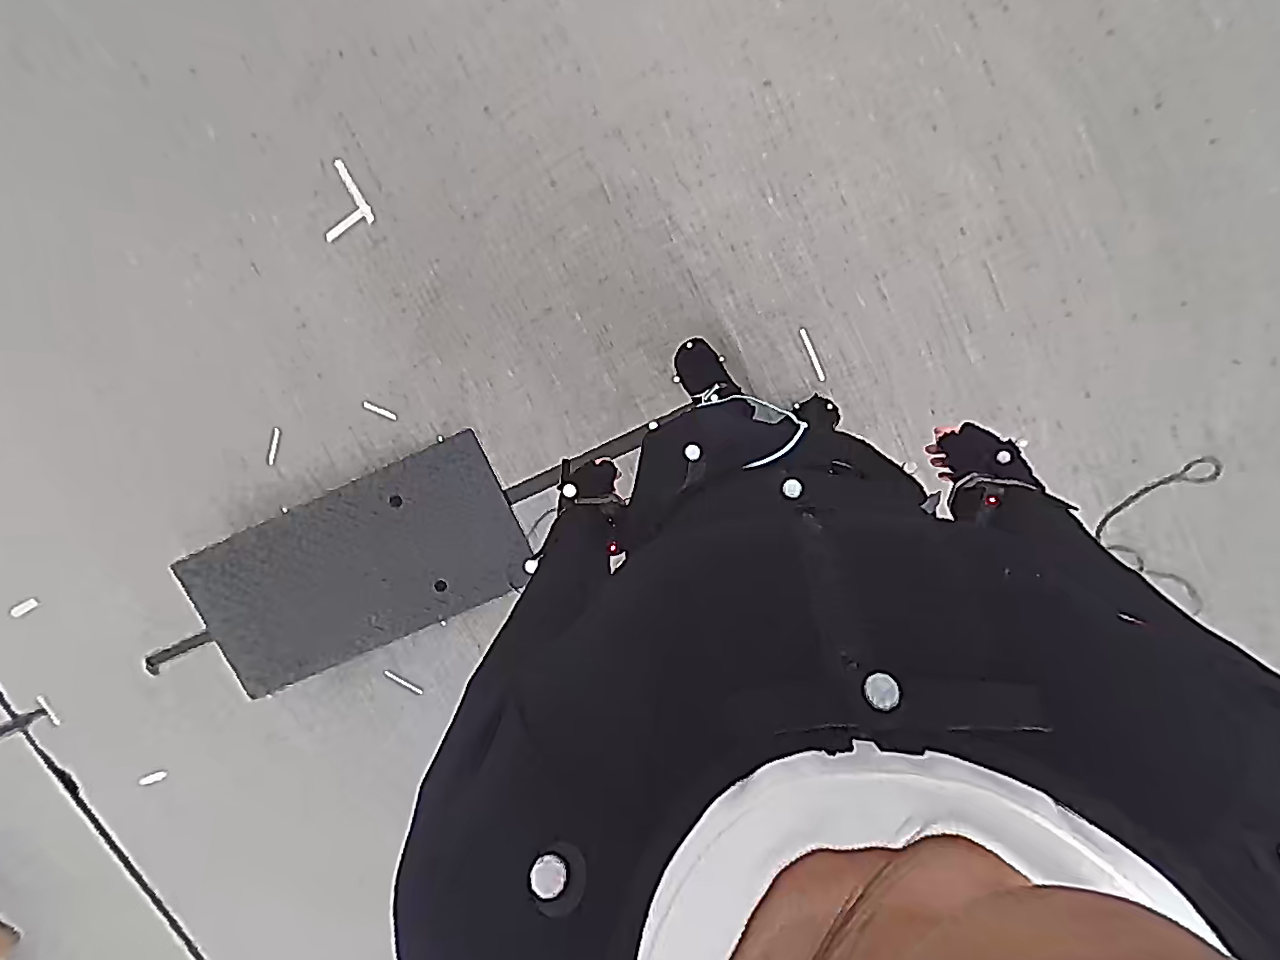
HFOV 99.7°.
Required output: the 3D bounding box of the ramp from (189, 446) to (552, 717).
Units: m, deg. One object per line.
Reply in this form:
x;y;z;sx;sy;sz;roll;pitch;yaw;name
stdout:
-0.812;0.317;1.631;0.991;0.206;0.509;-25;96;14;ramp
